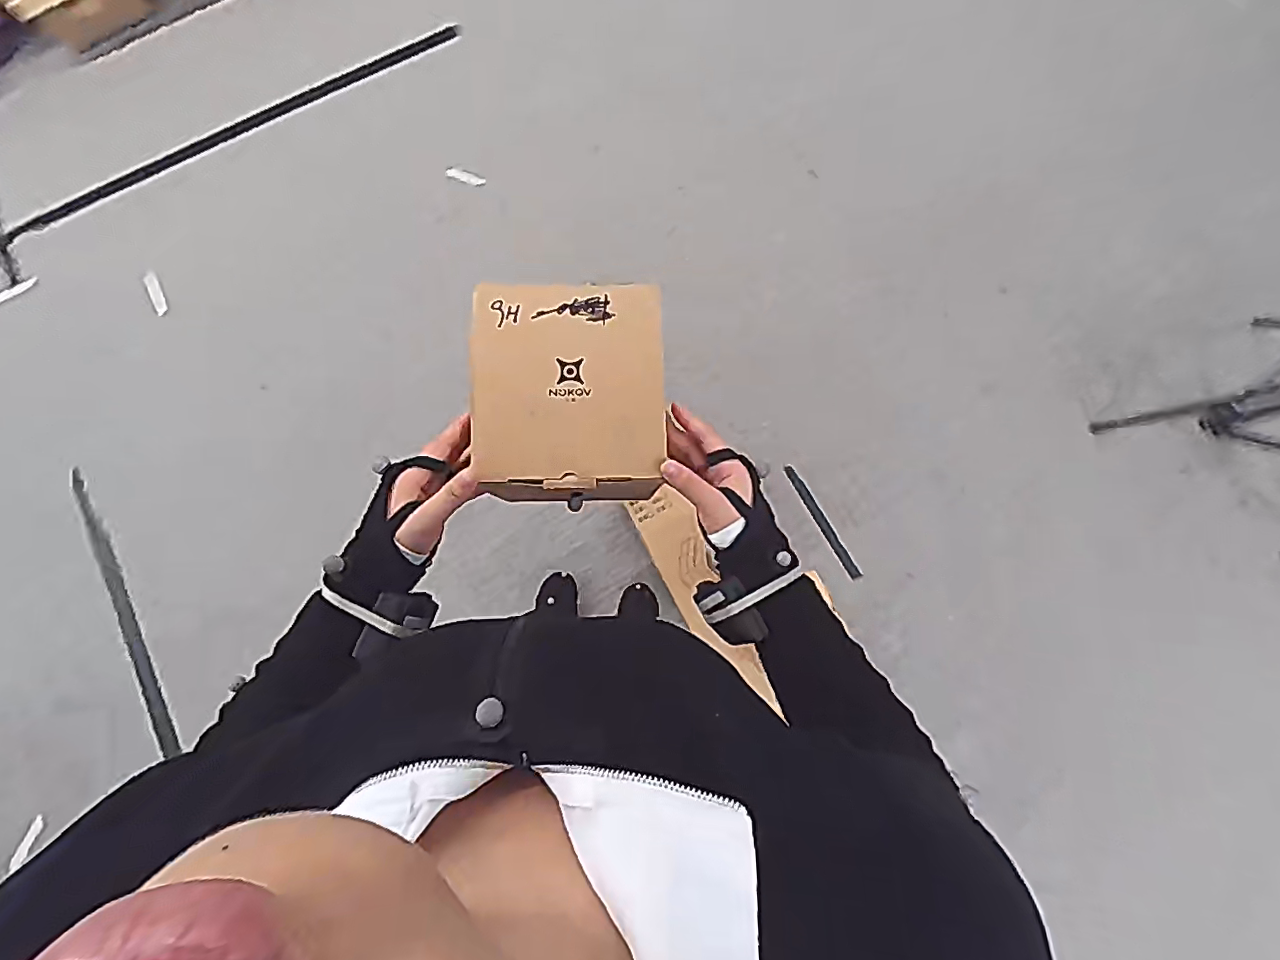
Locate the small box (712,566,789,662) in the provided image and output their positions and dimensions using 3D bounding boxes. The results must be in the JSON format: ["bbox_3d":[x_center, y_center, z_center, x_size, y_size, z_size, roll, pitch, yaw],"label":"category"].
[{"bbox_3d":[0.292,0.317,1.292,0.179,0.176,0.168,-28,81,-4],"label":"small box"}]

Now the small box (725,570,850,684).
[{"bbox_3d":[0.296,0.297,1.129,0.179,0.176,0.168,-25,81,-3],"label":"small box"}]
